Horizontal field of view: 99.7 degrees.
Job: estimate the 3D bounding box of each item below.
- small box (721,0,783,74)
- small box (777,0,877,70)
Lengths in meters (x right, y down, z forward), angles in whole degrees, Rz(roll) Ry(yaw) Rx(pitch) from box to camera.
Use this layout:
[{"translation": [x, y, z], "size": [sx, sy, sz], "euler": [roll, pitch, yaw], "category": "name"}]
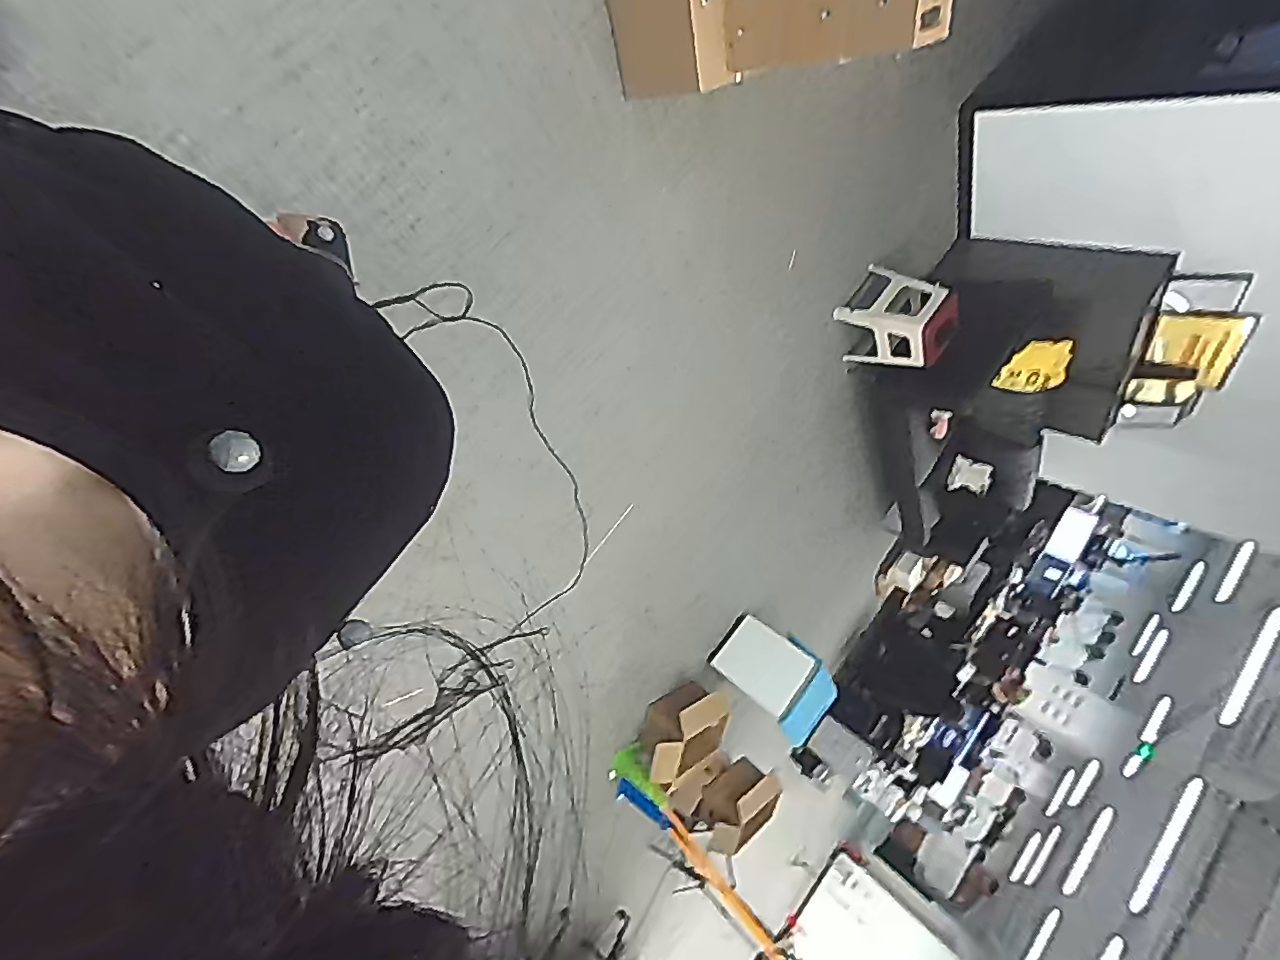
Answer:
[{"translation": [0.330, -1.169, 1.389], "size": [0.179, 0.176, 0.168], "euler": [-38, 135, -26], "category": "small box"}, {"translation": [0.442, -1.103, 1.292], "size": [0.168, 0.176, 0.179], "euler": [-37, 134, -27], "category": "small box"}]
